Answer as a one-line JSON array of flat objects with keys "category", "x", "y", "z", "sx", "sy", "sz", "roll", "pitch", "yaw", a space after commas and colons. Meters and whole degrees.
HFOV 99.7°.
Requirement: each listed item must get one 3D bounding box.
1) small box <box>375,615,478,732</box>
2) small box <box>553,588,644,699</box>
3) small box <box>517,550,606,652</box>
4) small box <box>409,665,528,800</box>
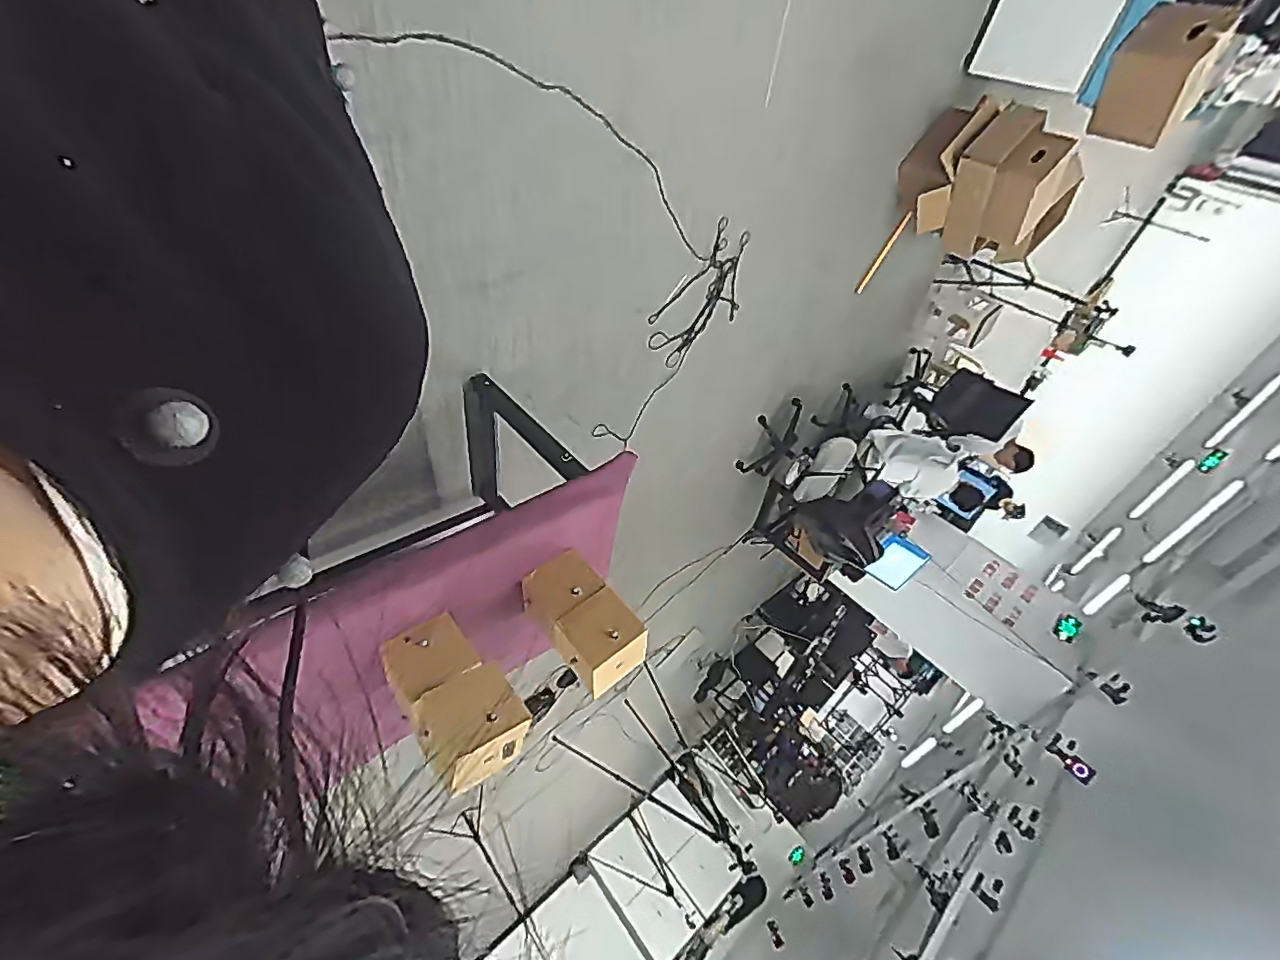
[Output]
[{"category": "small box", "x": -0.492, "y": 0.450, "z": 1.255, "sx": 0.168, "sy": 0.176, "sz": 0.179, "roll": -25, "pitch": 143, "yaw": -36}, {"category": "small box", "x": -0.112, "y": 0.415, "z": 1.391, "sx": 0.179, "sy": 0.176, "sz": 0.168, "roll": -31, "pitch": 145, "yaw": -29}, {"category": "small box", "x": -0.214, "y": 0.324, "z": 1.477, "sx": 0.179, "sy": 0.176, "sz": 0.168, "roll": -29, "pitch": 144, "yaw": -30}, {"category": "small box", "x": -0.376, "y": 0.539, "z": 1.178, "sx": 0.179, "sy": 0.176, "sz": 0.168, "roll": -15, "pitch": 136, "yaw": -44}]
